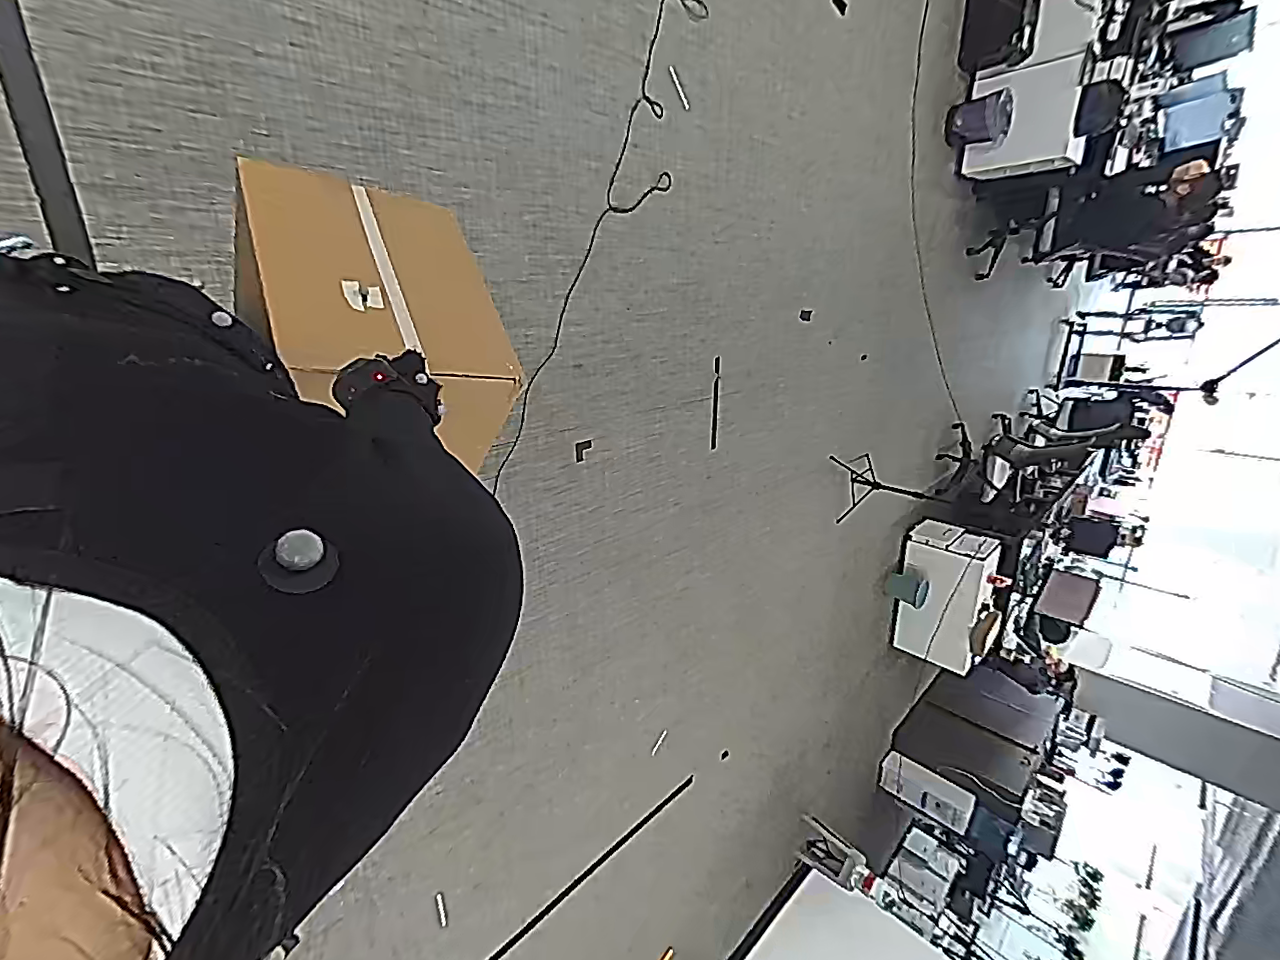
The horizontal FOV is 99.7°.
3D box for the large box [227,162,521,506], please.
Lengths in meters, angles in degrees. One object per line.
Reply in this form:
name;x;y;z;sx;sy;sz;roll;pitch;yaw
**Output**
large box;-0.454;-0.215;0.886;0.320;0.408;0.320;-7;152;-41
